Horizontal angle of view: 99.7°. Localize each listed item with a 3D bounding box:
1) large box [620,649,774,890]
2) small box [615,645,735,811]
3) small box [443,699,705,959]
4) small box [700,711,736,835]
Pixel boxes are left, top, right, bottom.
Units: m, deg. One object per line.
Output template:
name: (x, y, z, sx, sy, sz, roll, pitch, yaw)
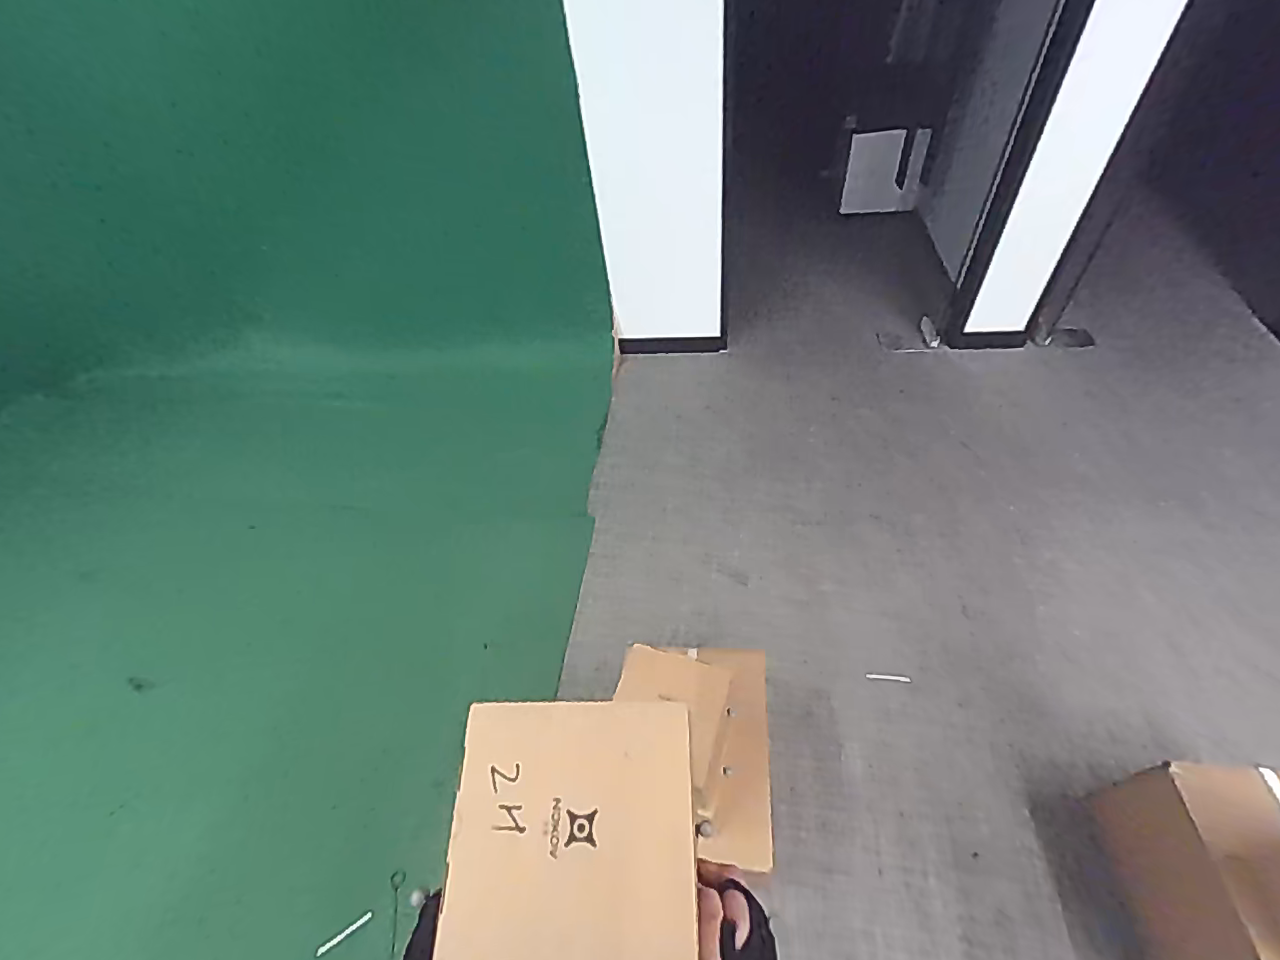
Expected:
large box: (0.117, 0.634, 1.198, 0.320, 0.320, 0.408, 0, 48, 9)
small box: (0.052, 0.399, 0.870, 0.168, 0.176, 0.179, 10, 52, 19)
small box: (-0.037, 0.286, 0.461, 0.179, 0.176, 0.168, -2, 60, 6)
small box: (0.077, 0.513, 0.984, 0.168, 0.176, 0.179, 8, 51, 17)
